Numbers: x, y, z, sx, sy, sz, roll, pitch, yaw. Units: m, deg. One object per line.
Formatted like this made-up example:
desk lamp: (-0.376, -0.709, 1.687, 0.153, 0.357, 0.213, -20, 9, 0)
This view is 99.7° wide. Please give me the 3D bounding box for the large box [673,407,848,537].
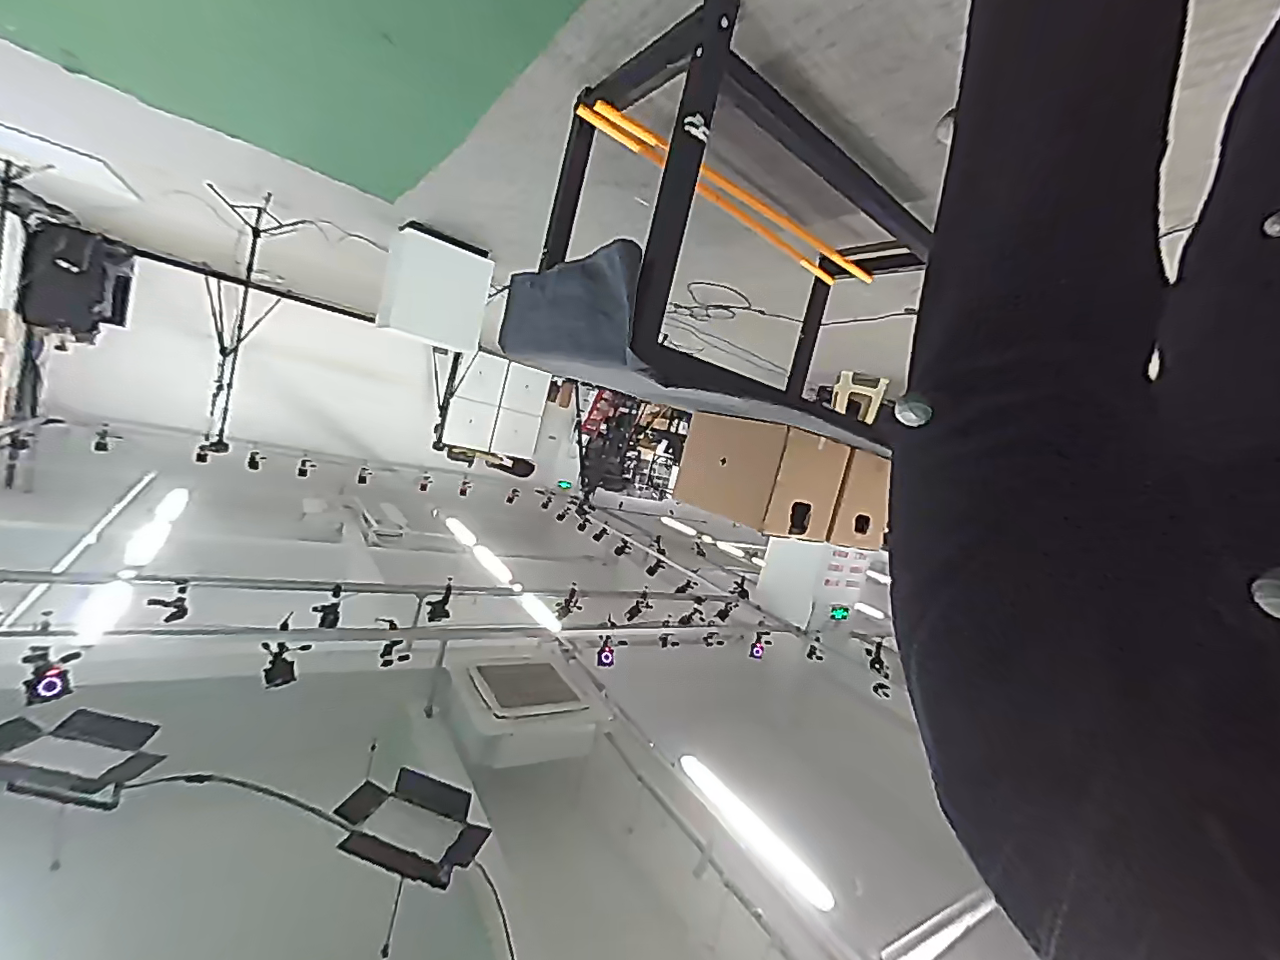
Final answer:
large box: (0.368, -0.035, 1.706, 0.320, 0.320, 0.408, 10, -175, -36)
